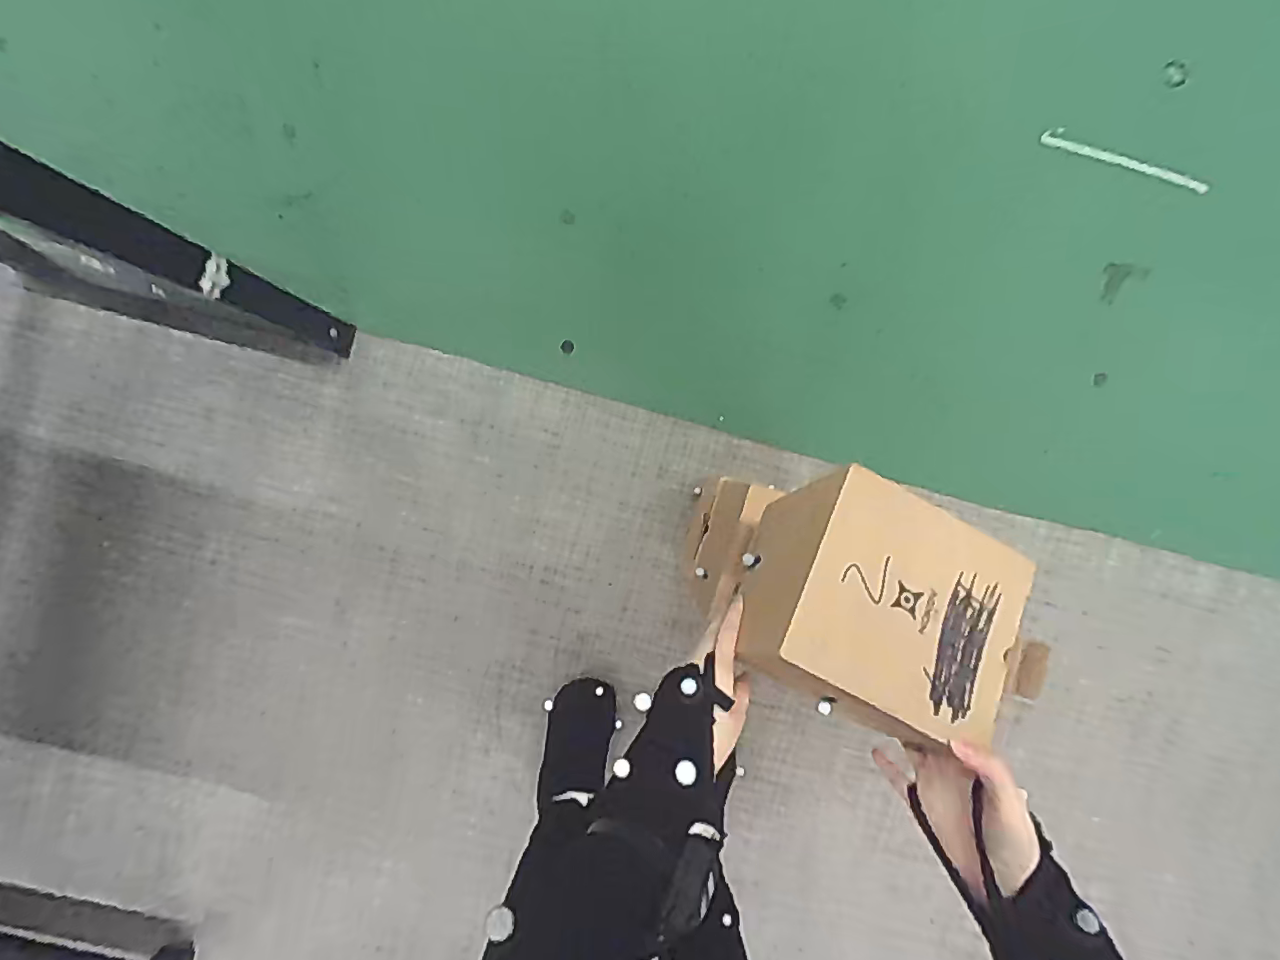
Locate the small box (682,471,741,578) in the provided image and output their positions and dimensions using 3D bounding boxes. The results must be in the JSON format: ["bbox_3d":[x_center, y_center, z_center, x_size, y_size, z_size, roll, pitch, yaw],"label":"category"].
[{"bbox_3d":[0.175,0.090,0.867,0.179,0.176,0.168,18,91,-3],"label":"small box"}]

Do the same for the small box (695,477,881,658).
[{"bbox_3d":[0.176,0.101,0.706,0.168,0.176,0.179,17,91,-3],"label":"small box"}]
